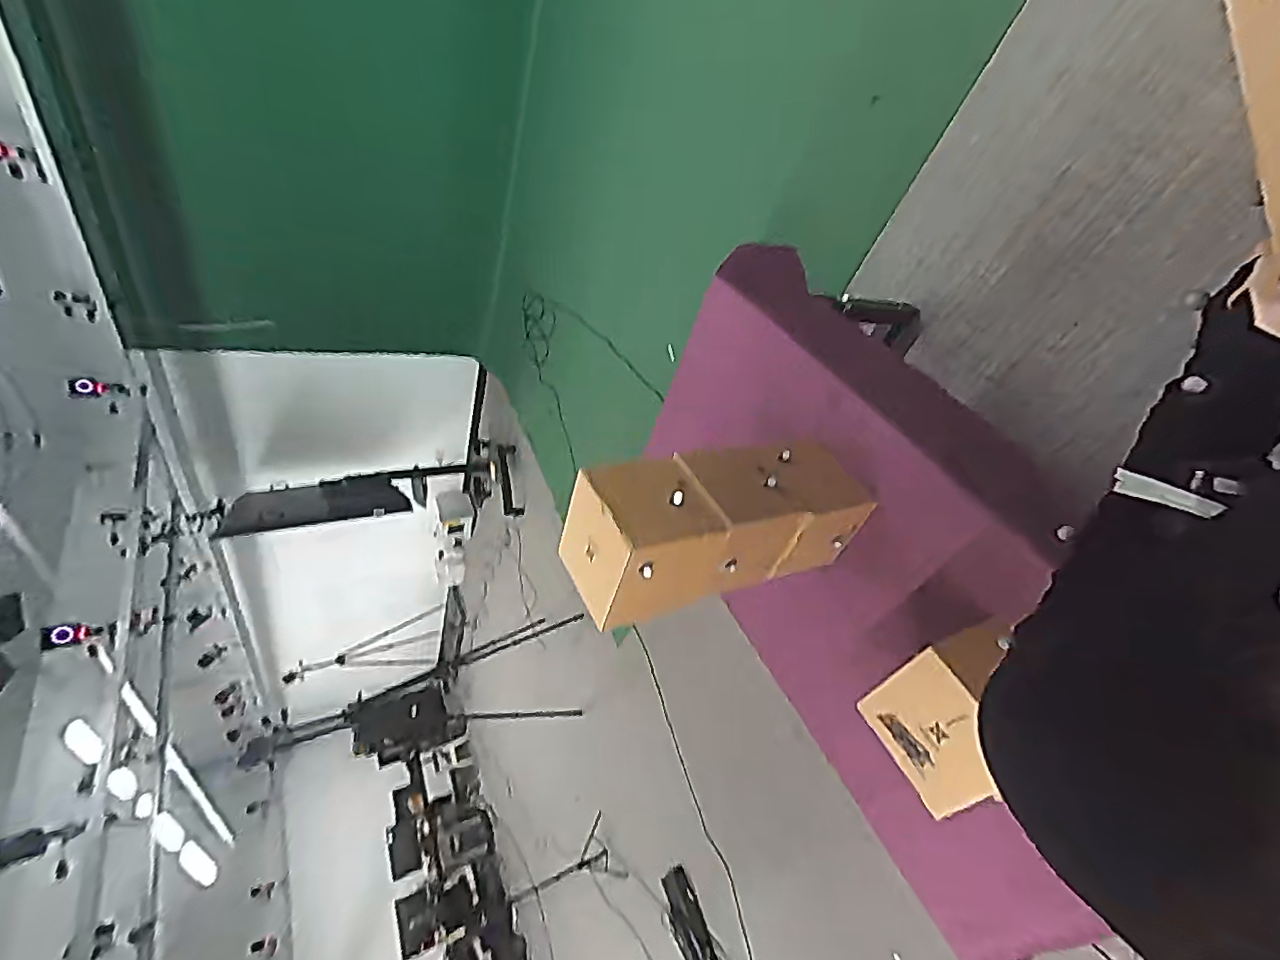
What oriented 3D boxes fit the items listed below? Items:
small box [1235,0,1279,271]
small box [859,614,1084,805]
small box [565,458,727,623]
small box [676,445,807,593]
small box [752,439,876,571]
[{"bbox_3d":[0.457,-0.218,0.282,0.168,0.176,0.179,-9,87,55],"label":"small box"},{"bbox_3d":[0.458,0.315,0.757,0.168,0.176,0.179,58,141,34],"label":"small box"},{"bbox_3d":[0.005,0.085,0.820,0.168,0.176,0.179,53,138,38],"label":"small box"},{"bbox_3d":[0.144,0.060,0.902,0.168,0.176,0.179,55,139,36],"label":"small box"},{"bbox_3d":[0.282,0.039,0.985,0.179,0.176,0.168,57,141,36],"label":"small box"}]
